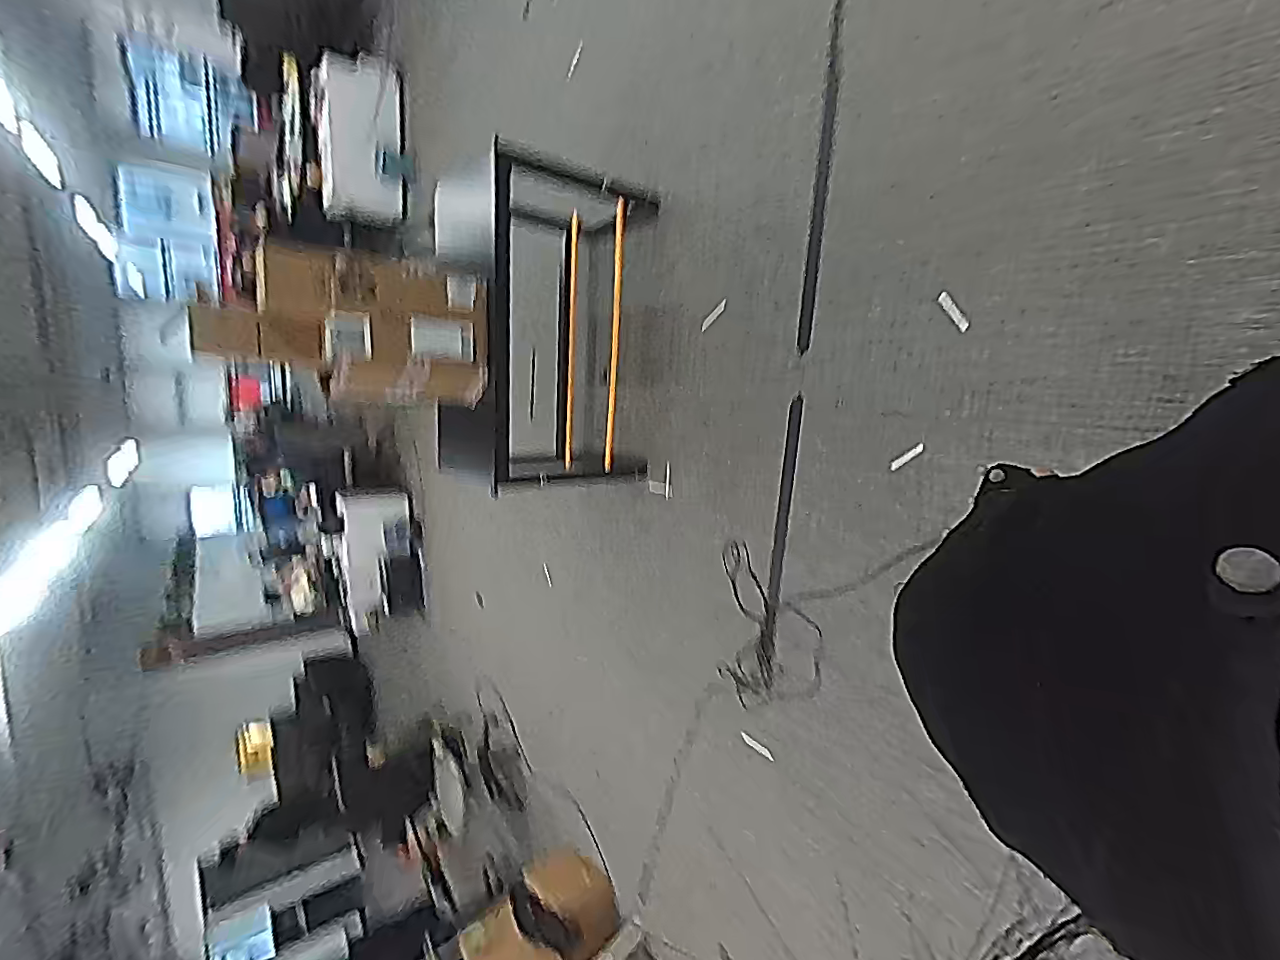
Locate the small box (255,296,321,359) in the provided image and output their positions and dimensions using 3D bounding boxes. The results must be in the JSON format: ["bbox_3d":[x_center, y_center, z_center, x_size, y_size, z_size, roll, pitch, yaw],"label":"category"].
[{"bbox_3d":[-1.160,-0.495,1.781,0.168,0.176,0.179,10,101,53],"label":"small box"}]

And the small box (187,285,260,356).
[{"bbox_3d":[-1.289,-0.488,1.681,0.168,0.176,0.179,7,98,54],"label":"small box"}]

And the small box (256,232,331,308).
[{"bbox_3d":[-1.035,-0.616,1.614,0.179,0.176,0.168,10,100,50],"label":"small box"}]
